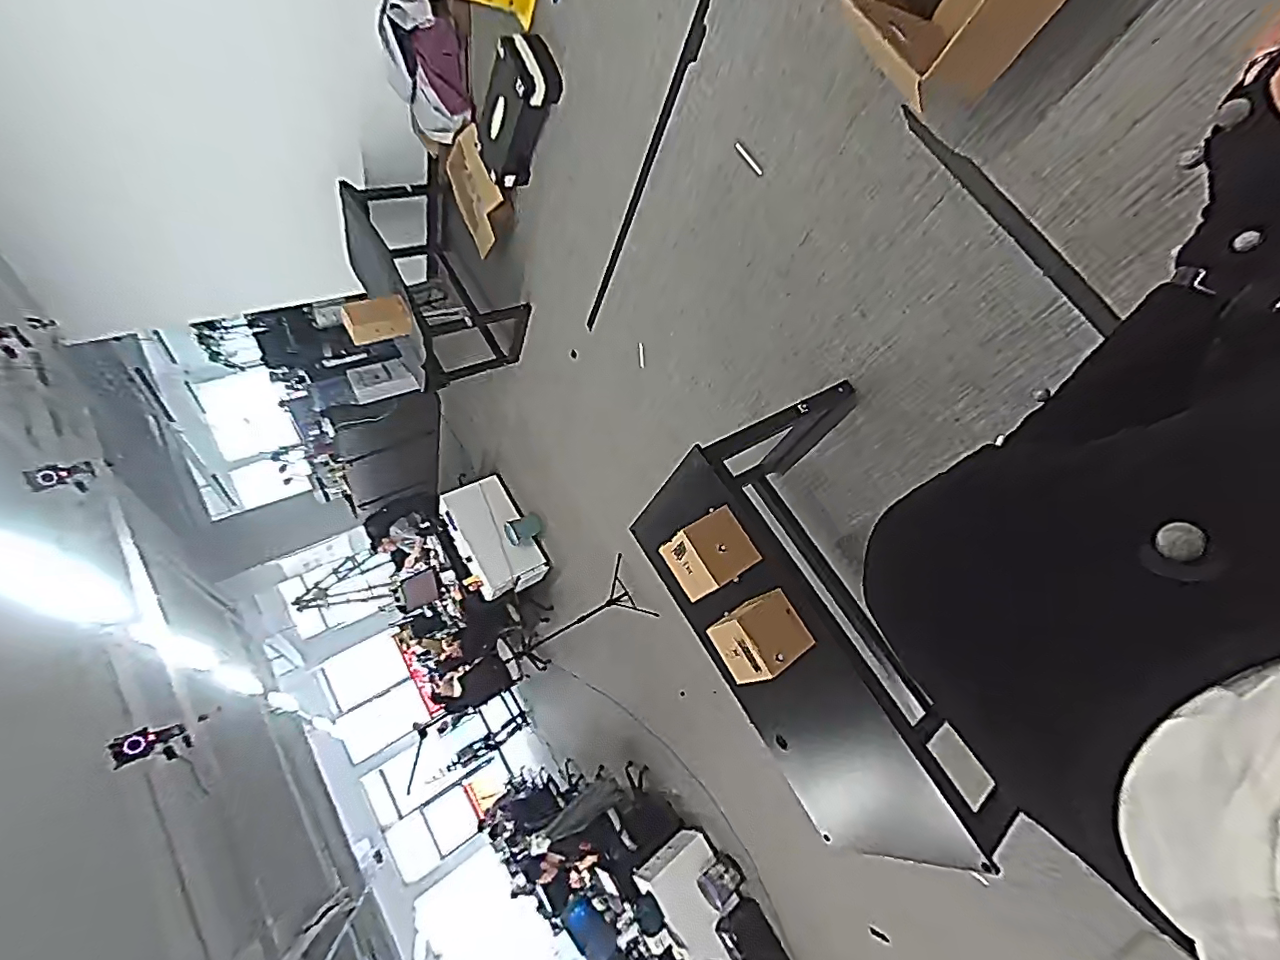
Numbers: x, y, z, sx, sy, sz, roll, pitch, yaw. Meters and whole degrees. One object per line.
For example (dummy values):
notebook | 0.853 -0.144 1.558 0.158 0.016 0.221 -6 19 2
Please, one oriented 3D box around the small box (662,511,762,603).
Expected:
small box | 0.196 0.204 1.477 0.179 0.176 0.168 57 150 11
